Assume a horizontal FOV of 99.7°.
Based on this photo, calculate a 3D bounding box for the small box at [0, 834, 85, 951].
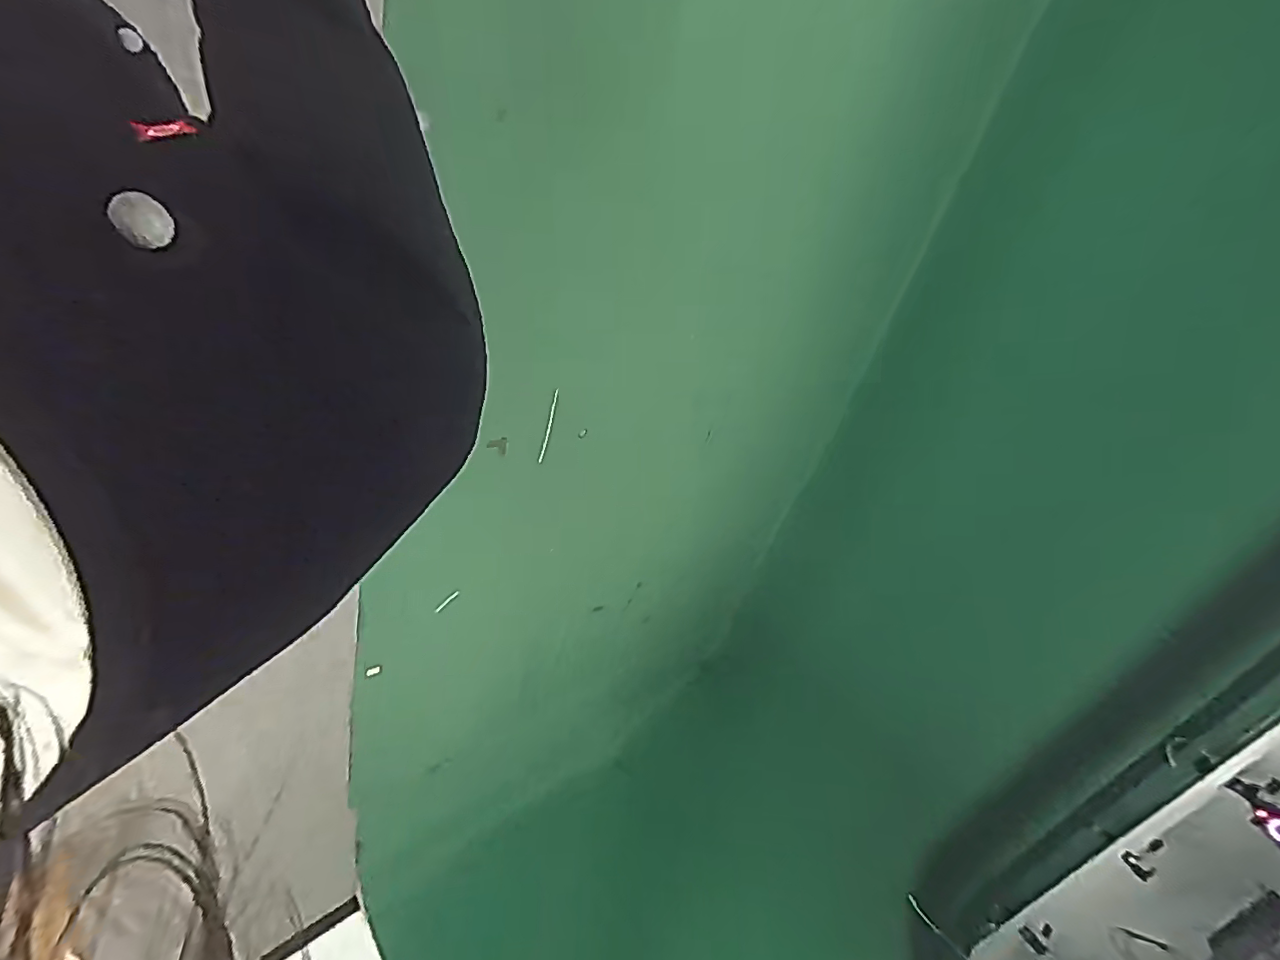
[{"bbox_3d":[-1.746,1.178,1.555,0.179,0.176,0.168,-15,134,-44],"label":"small box"}]
